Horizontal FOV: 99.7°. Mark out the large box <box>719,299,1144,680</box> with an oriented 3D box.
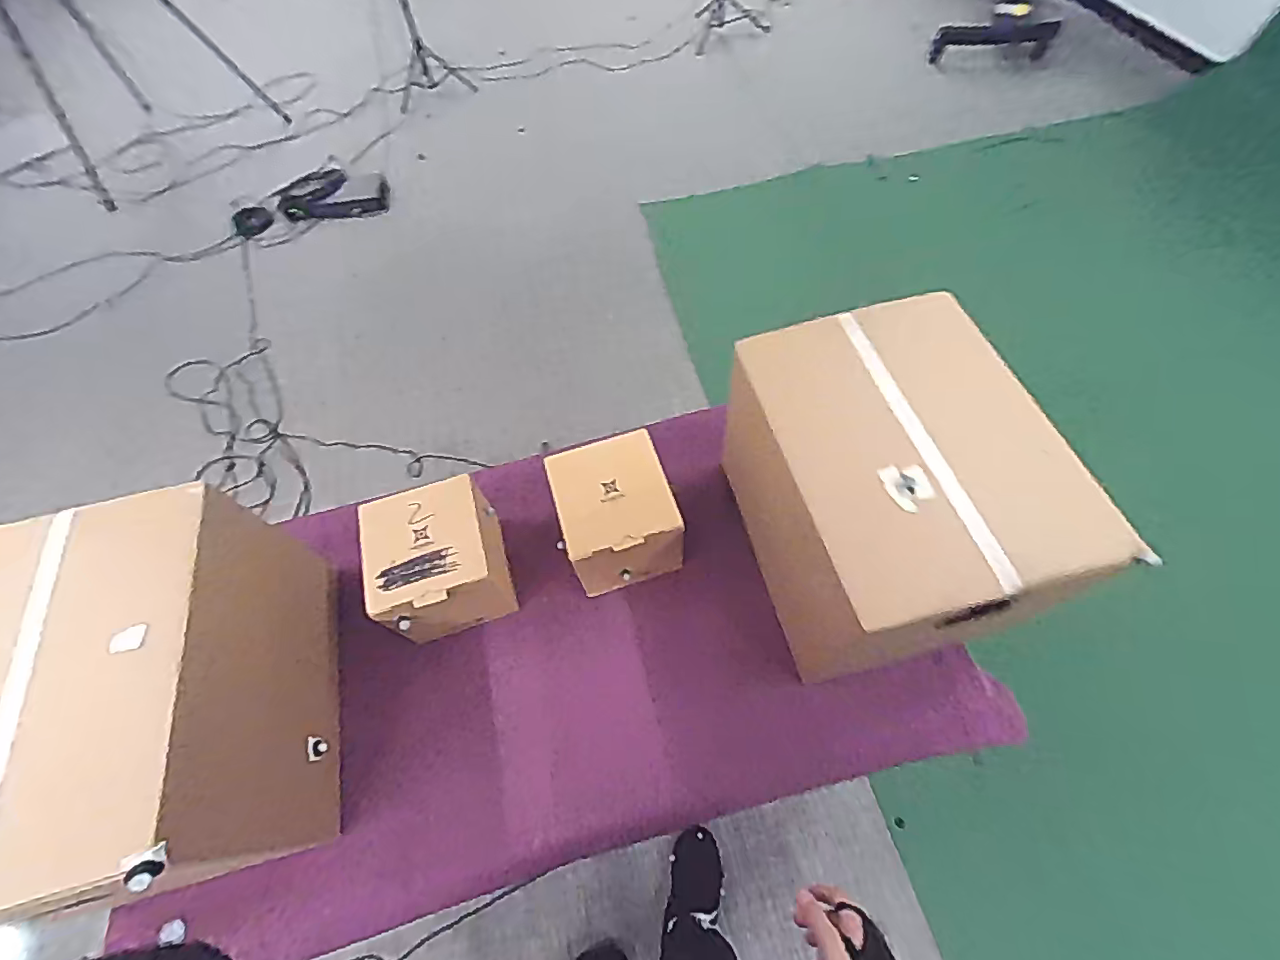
[{"bbox_3d":[0.331,0.021,0.769,0.320,0.320,0.408,-15,61,-4],"label":"large box"}]
